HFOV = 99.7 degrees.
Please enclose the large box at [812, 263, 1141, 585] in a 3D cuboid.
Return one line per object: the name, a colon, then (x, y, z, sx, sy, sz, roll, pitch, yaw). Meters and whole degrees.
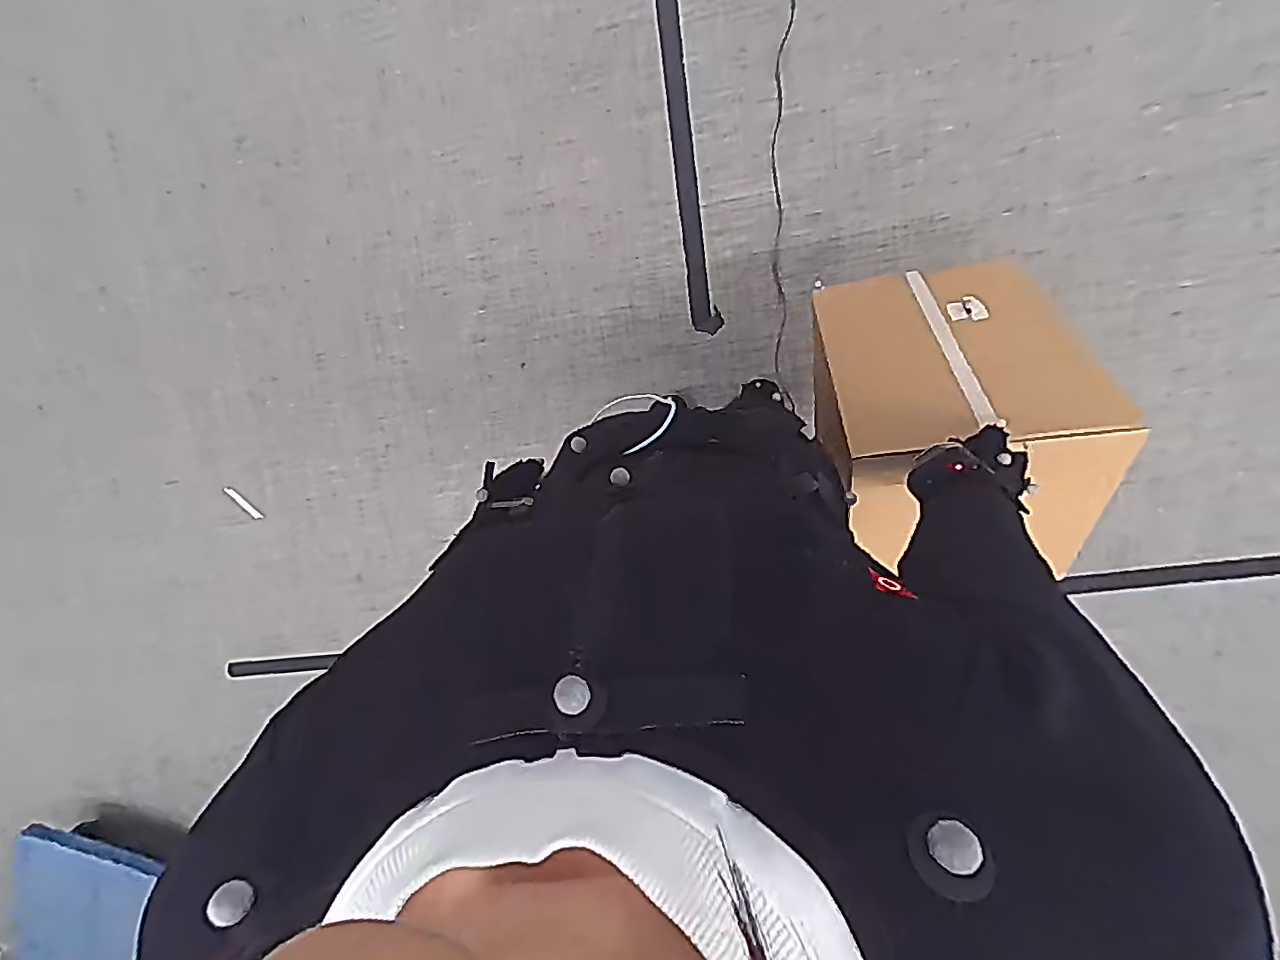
large box: (0.469, -0.088, 0.876, 0.320, 0.408, 0.320, -5, 136, 13)
